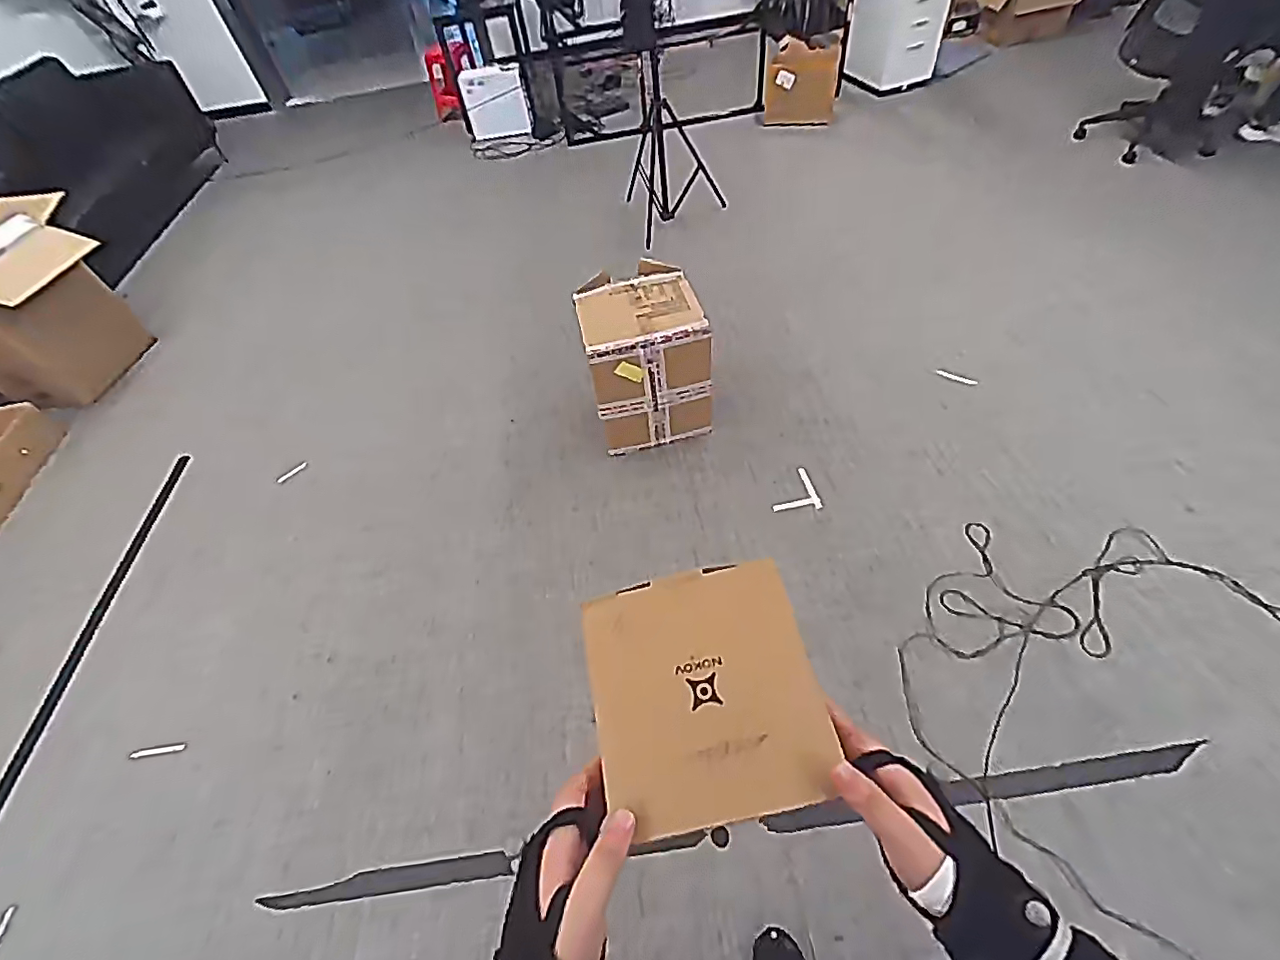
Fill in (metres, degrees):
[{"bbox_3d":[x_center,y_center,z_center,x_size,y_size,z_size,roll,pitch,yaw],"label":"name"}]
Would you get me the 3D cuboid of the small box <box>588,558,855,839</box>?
[{"bbox_3d":[0.058,0.193,0.470,0.168,0.176,0.179,-13,58,0],"label":"small box"}]
